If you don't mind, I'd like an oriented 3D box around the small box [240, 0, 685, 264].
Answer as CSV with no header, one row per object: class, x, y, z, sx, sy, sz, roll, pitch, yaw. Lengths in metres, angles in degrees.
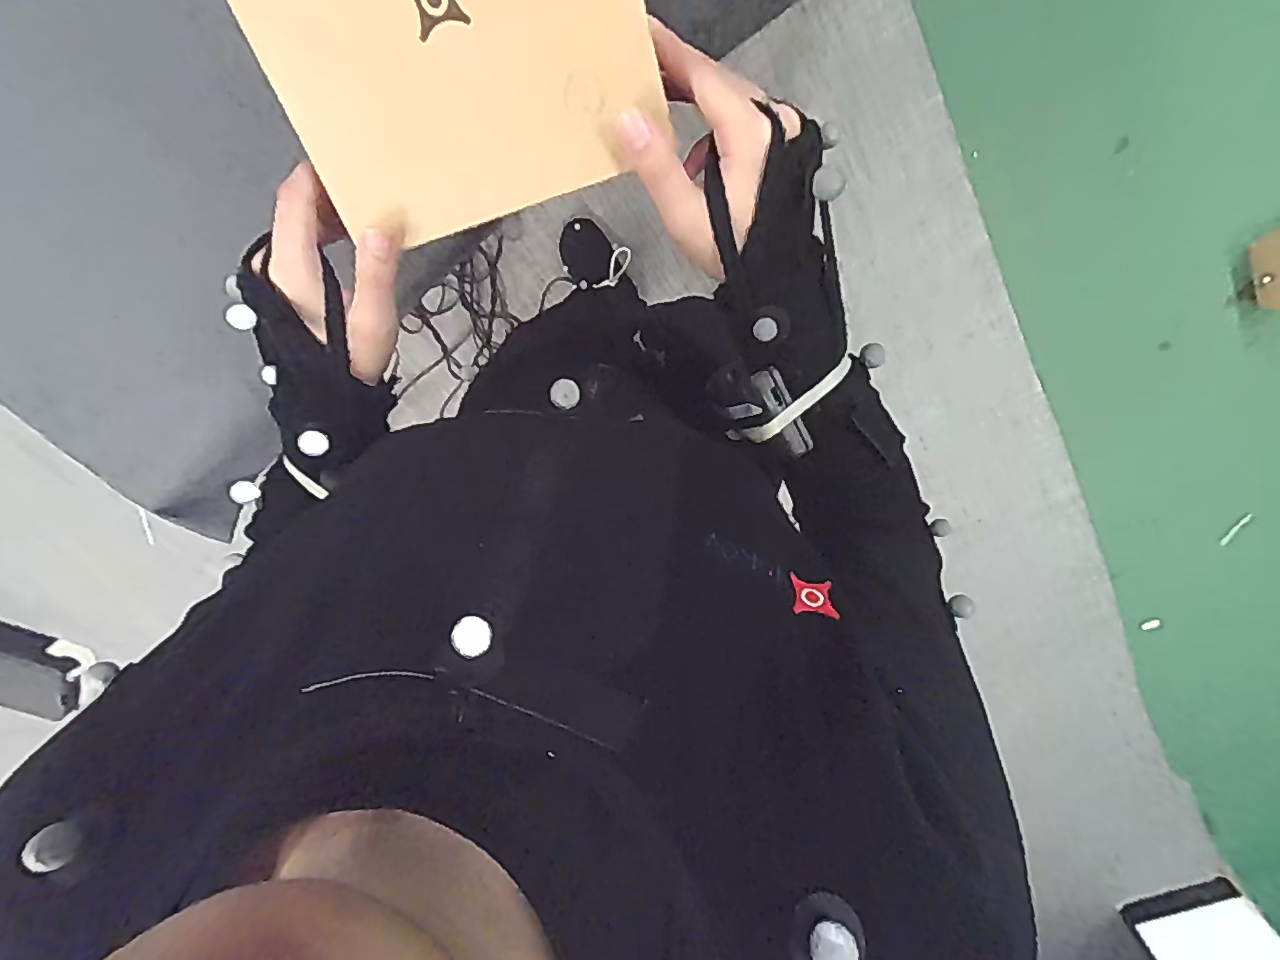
small box,-0.077,-0.240,0.286,0.168,0.176,0.179,-14,120,8
